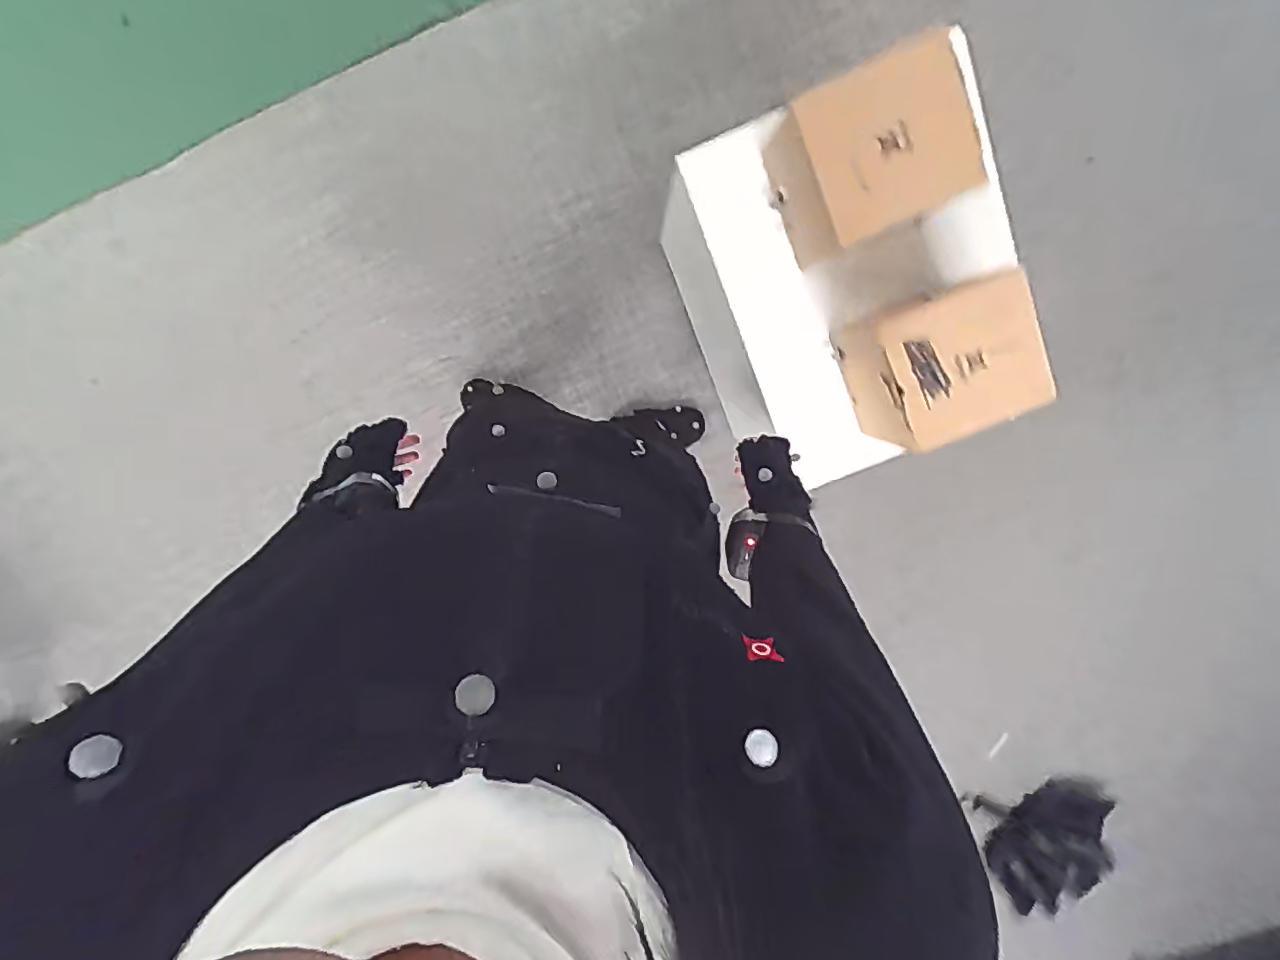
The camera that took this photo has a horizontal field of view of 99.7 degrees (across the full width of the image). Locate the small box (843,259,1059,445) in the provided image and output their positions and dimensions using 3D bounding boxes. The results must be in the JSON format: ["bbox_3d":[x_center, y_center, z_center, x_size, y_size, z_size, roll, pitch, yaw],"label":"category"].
[{"bbox_3d":[0.386,-0.162,0.708,0.179,0.176,0.168,-23,102,5],"label":"small box"}]

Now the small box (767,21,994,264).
[{"bbox_3d":[0.276,-0.386,0.657,0.179,0.176,0.168,-24,102,7],"label":"small box"}]
